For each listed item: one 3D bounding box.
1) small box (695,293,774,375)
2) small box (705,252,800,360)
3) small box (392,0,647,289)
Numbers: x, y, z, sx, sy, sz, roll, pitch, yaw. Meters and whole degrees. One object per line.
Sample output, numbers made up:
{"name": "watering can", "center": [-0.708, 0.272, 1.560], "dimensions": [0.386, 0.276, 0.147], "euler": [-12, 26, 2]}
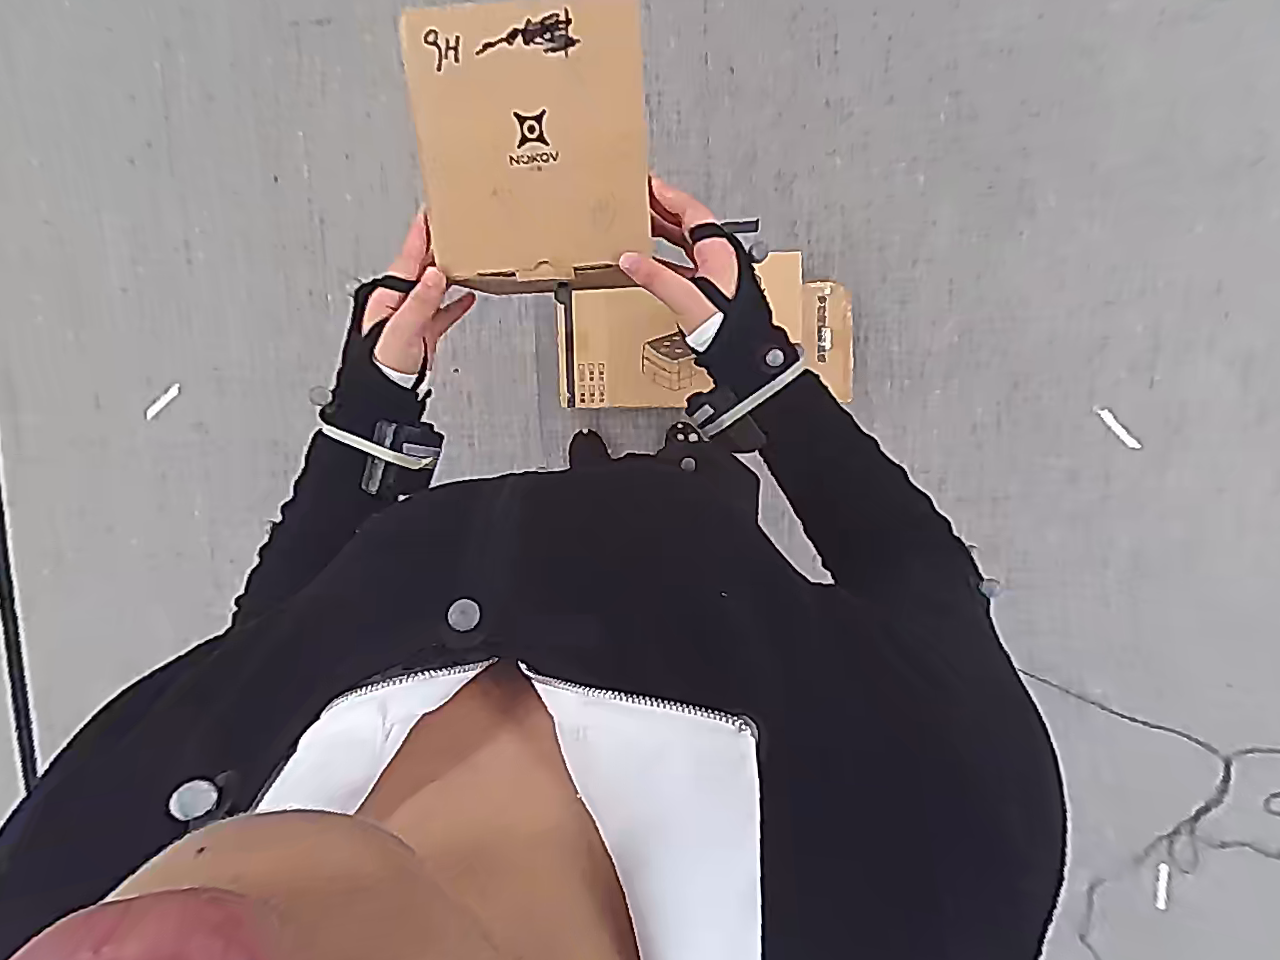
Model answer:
{"name": "small box", "center": [0.220, -0.348, 1.271], "dimensions": [0.168, 0.176, 0.179], "euler": [3, 96, 1]}
{"name": "small box", "center": [0.222, -0.348, 1.105], "dimensions": [0.168, 0.176, 0.179], "euler": [-1, 95, 2]}
{"name": "small box", "center": [-0.081, -0.262, 0.466], "dimensions": [0.168, 0.176, 0.179], "euler": [-4, 106, 2]}
